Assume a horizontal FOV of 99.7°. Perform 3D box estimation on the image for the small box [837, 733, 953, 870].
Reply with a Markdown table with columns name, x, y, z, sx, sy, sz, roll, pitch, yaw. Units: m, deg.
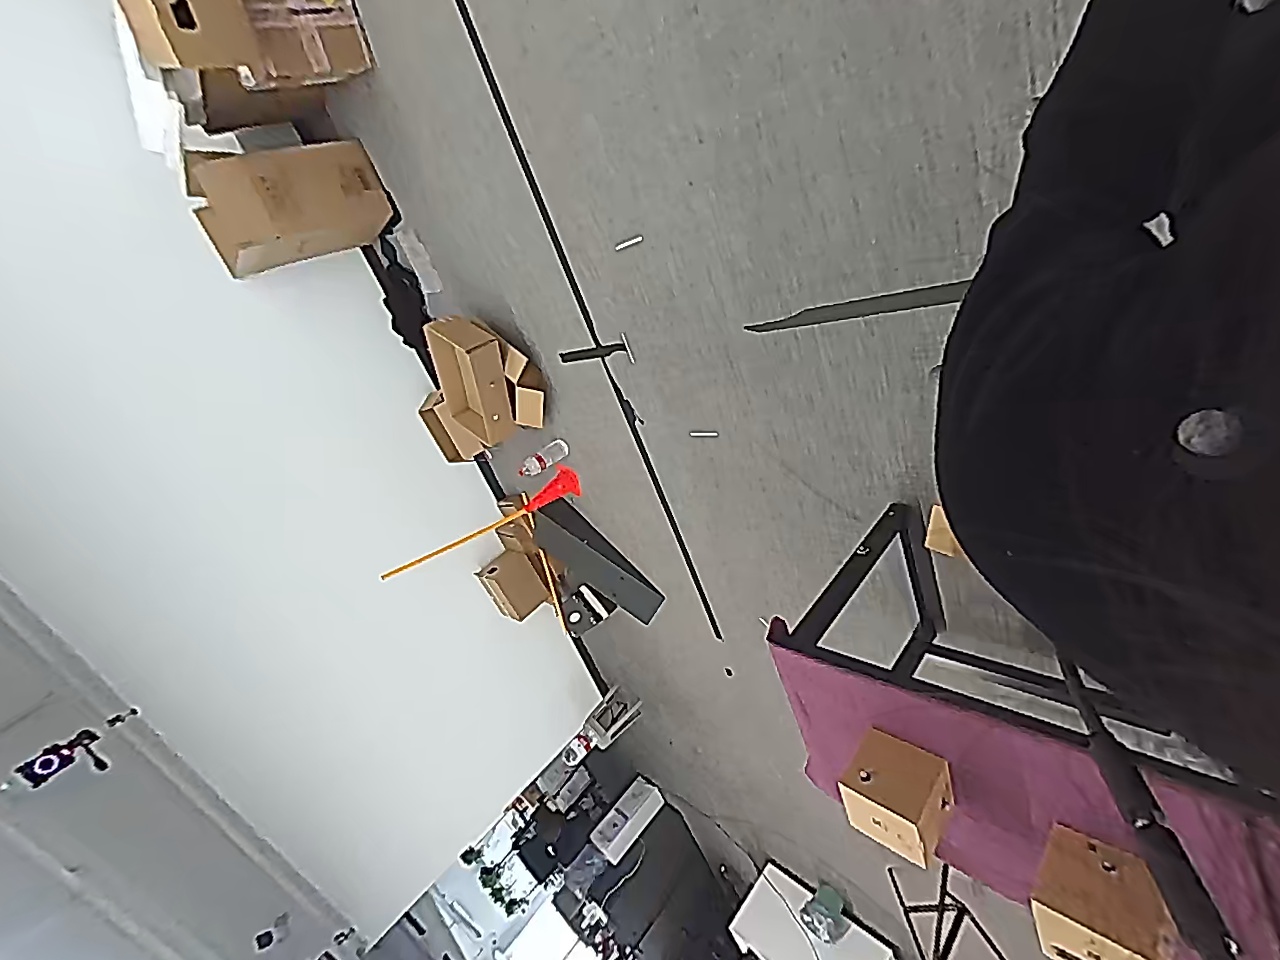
| name | x | y | z | sx | sy | sz | roll | pitch | yaw |
| --- | --- | --- | --- | --- | --- | --- | --- | --- | --- |
| small box | 0.577 | 0.710 | 1.219 | 0.179 | 0.176 | 0.168 | 8 | 128 | 48 |

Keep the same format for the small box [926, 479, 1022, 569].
| name | x | y | z | sx | sy | sz | roll | pitch | yaw |
| --- | --- | --- | --- | --- | --- | --- | --- | --- | --- |
| small box | 0.953 | 0.117 | 1.547 | 0.179 | 0.176 | 0.168 | 23 | 136 | 37 |
